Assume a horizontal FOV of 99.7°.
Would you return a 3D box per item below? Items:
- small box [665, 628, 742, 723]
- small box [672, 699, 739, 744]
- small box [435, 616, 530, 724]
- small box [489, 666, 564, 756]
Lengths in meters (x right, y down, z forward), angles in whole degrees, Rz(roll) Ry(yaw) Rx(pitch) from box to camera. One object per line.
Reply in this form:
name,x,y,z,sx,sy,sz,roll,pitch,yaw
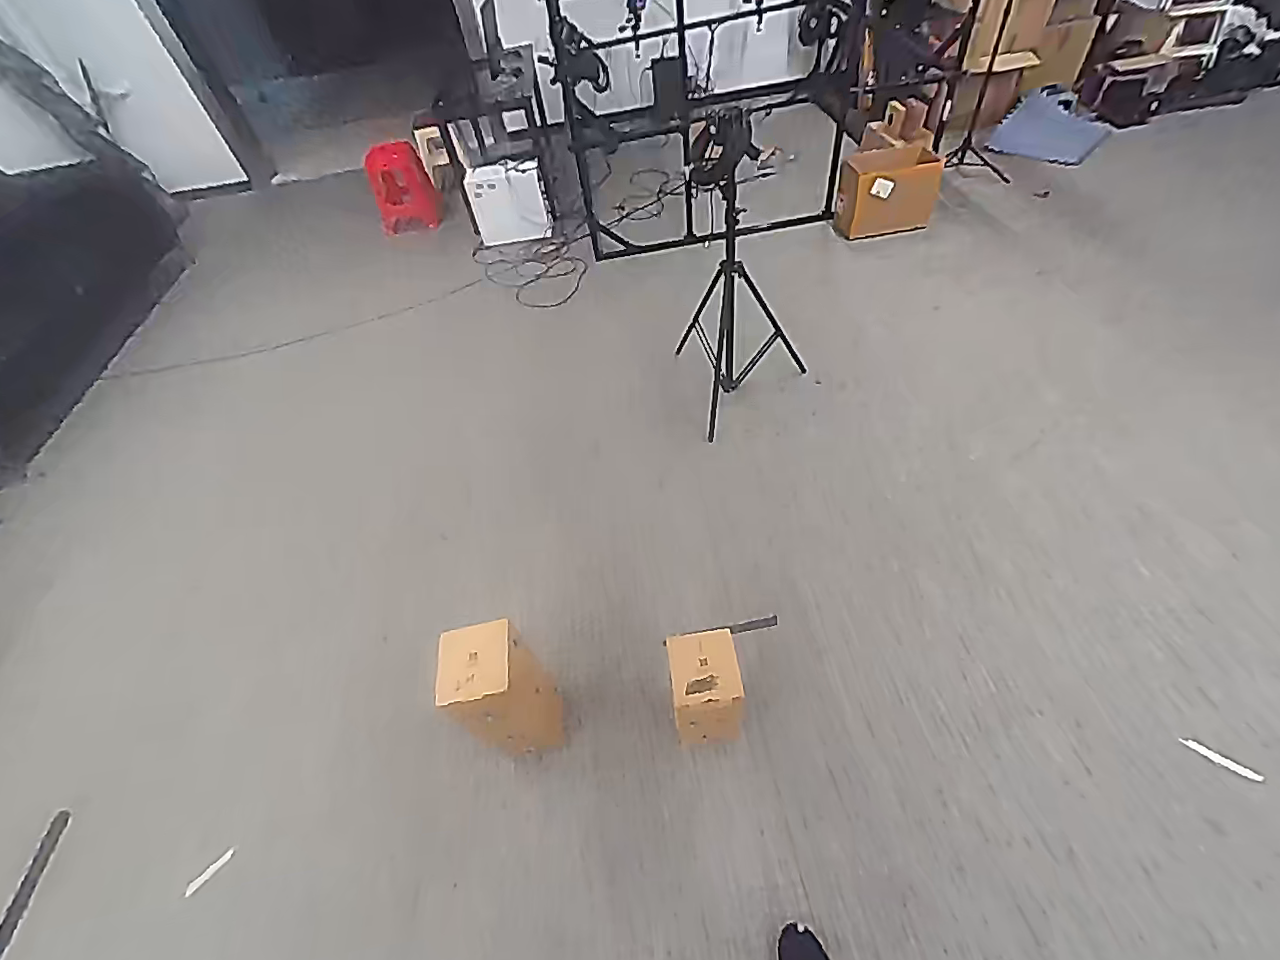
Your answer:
small box,0.161,0.501,1.368,0.168,0.176,0.179,-8,49,1
small box,0.173,0.608,1.492,0.168,0.176,0.179,-8,50,2
small box,-0.363,0.450,1.277,0.168,0.176,0.179,-12,50,1
small box,-0.317,0.655,1.529,0.168,0.176,0.179,-12,49,0
